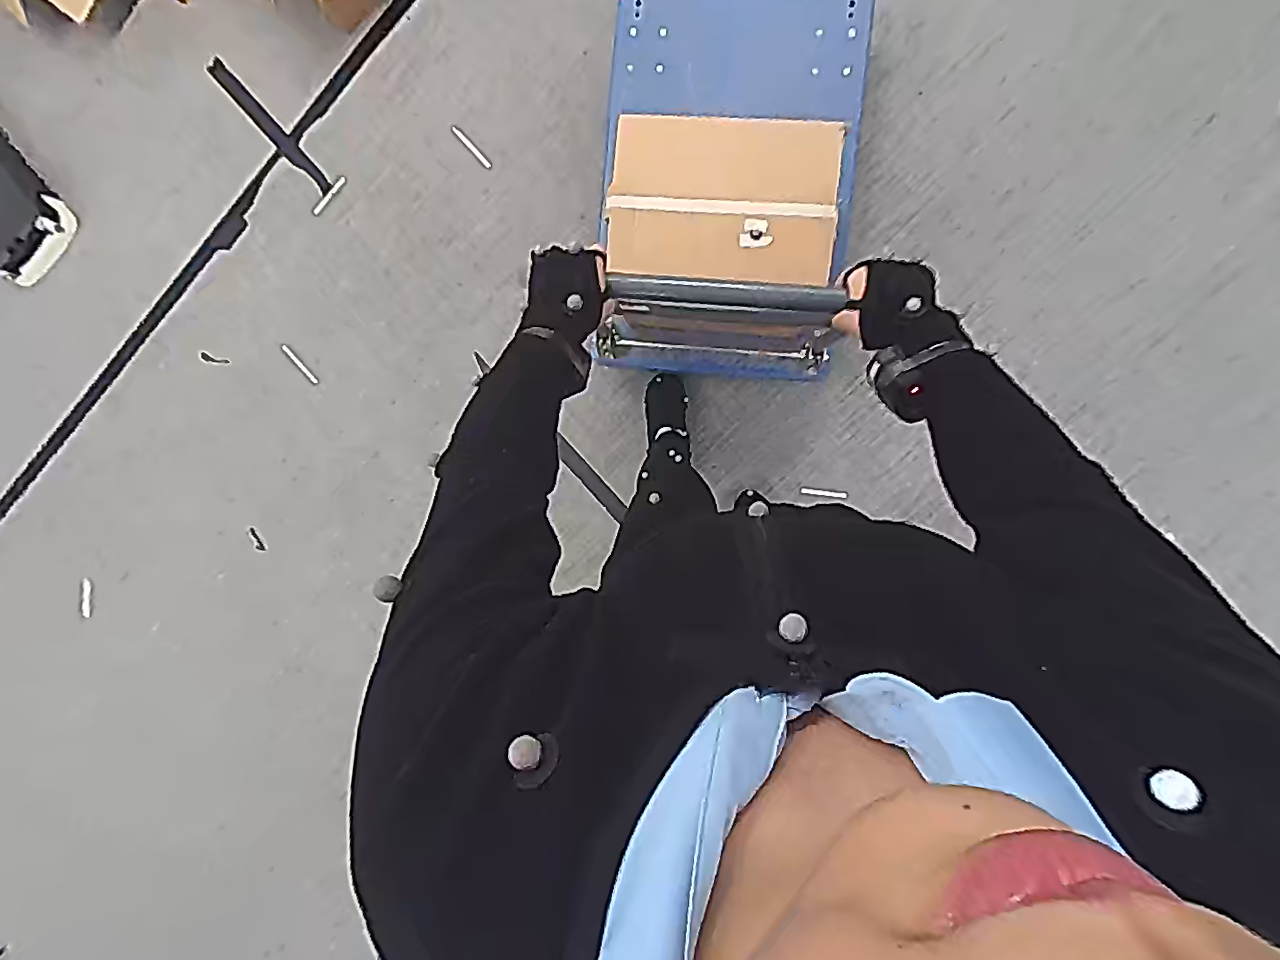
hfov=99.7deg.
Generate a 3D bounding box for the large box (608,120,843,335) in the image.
[{"bbox_3d":[0.159,-0.494,1.121,0.408,0.320,0.320,6,95,5],"label":"large box"}]
